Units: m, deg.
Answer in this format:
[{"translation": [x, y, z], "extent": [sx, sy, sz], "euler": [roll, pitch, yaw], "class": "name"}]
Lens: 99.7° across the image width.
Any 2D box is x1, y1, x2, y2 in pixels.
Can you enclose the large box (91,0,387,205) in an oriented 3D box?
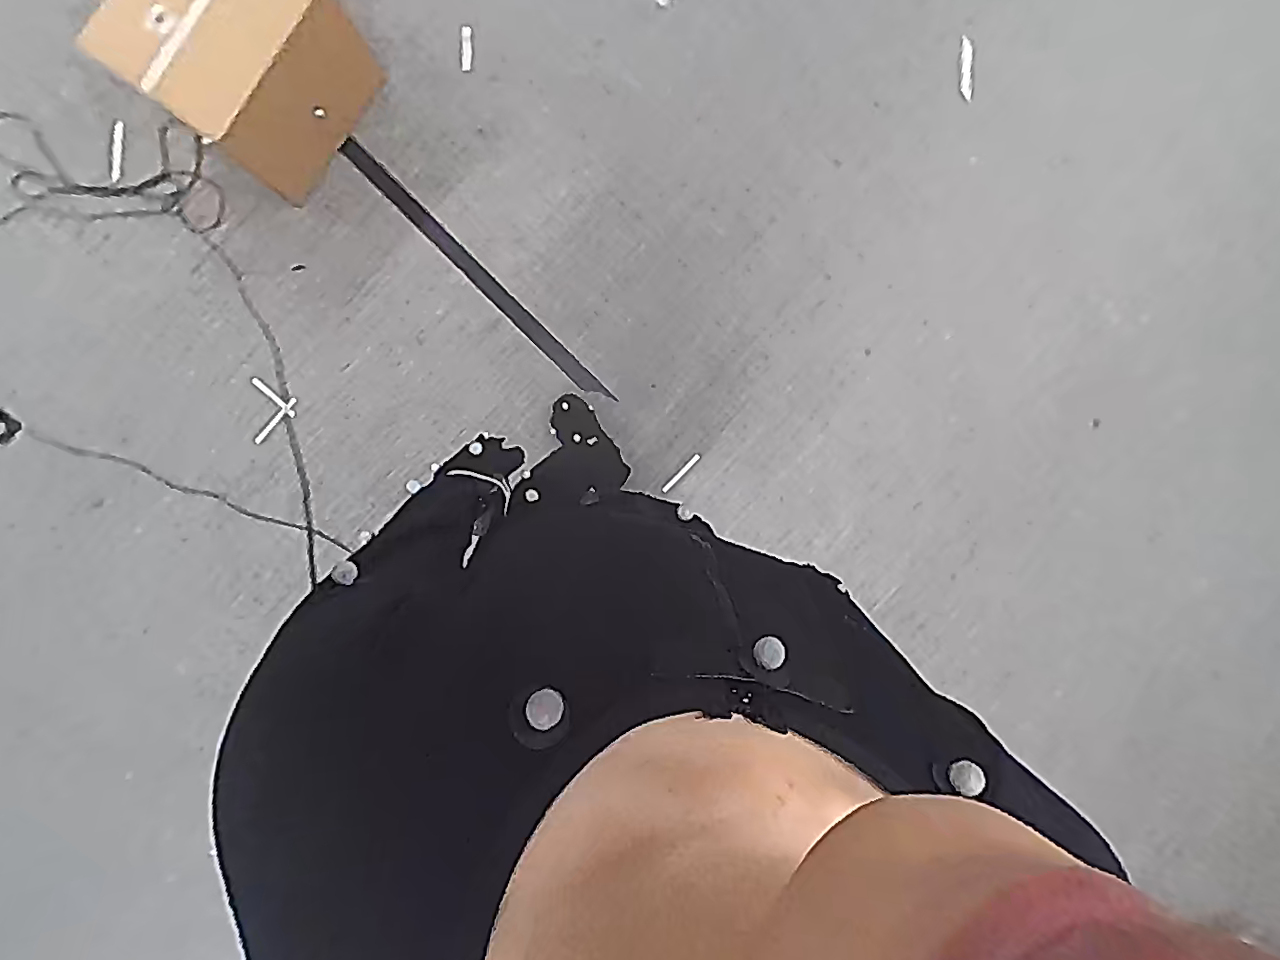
[{"translation": [-0.862, -0.938, 1.224], "extent": [0.320, 0.320, 0.408], "euler": [35, 92, -5], "class": "large box"}]
